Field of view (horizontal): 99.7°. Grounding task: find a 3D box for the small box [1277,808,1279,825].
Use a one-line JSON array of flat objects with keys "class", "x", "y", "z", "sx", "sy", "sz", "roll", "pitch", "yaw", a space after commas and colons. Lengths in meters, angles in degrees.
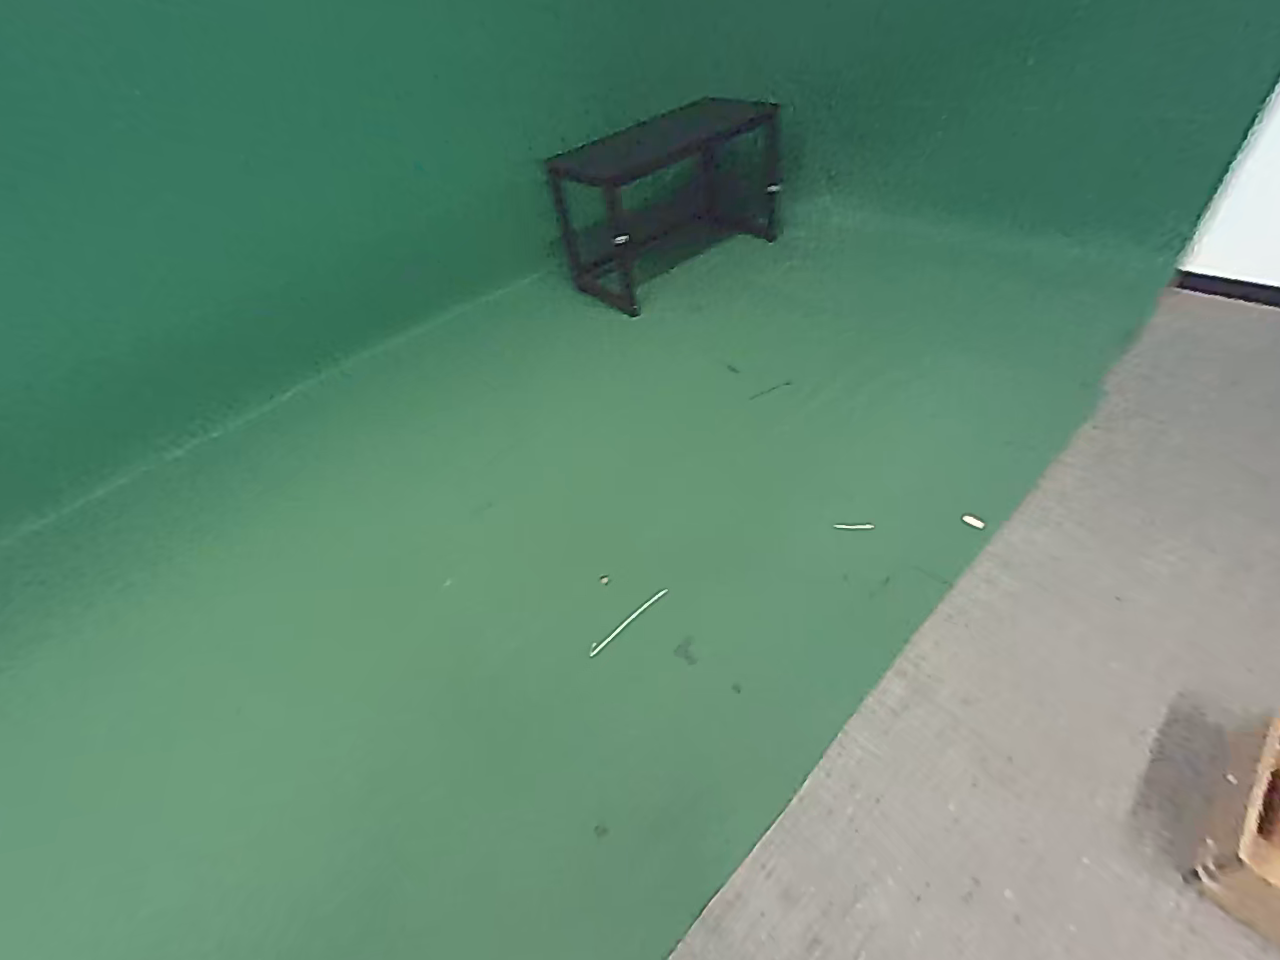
[{"class": "small box", "x": 1.377, "y": 0.628, "z": 1.018, "sx": 0.179, "sy": 0.176, "sz": 0.168, "roll": 29, "pitch": 61, "yaw": 33}]
